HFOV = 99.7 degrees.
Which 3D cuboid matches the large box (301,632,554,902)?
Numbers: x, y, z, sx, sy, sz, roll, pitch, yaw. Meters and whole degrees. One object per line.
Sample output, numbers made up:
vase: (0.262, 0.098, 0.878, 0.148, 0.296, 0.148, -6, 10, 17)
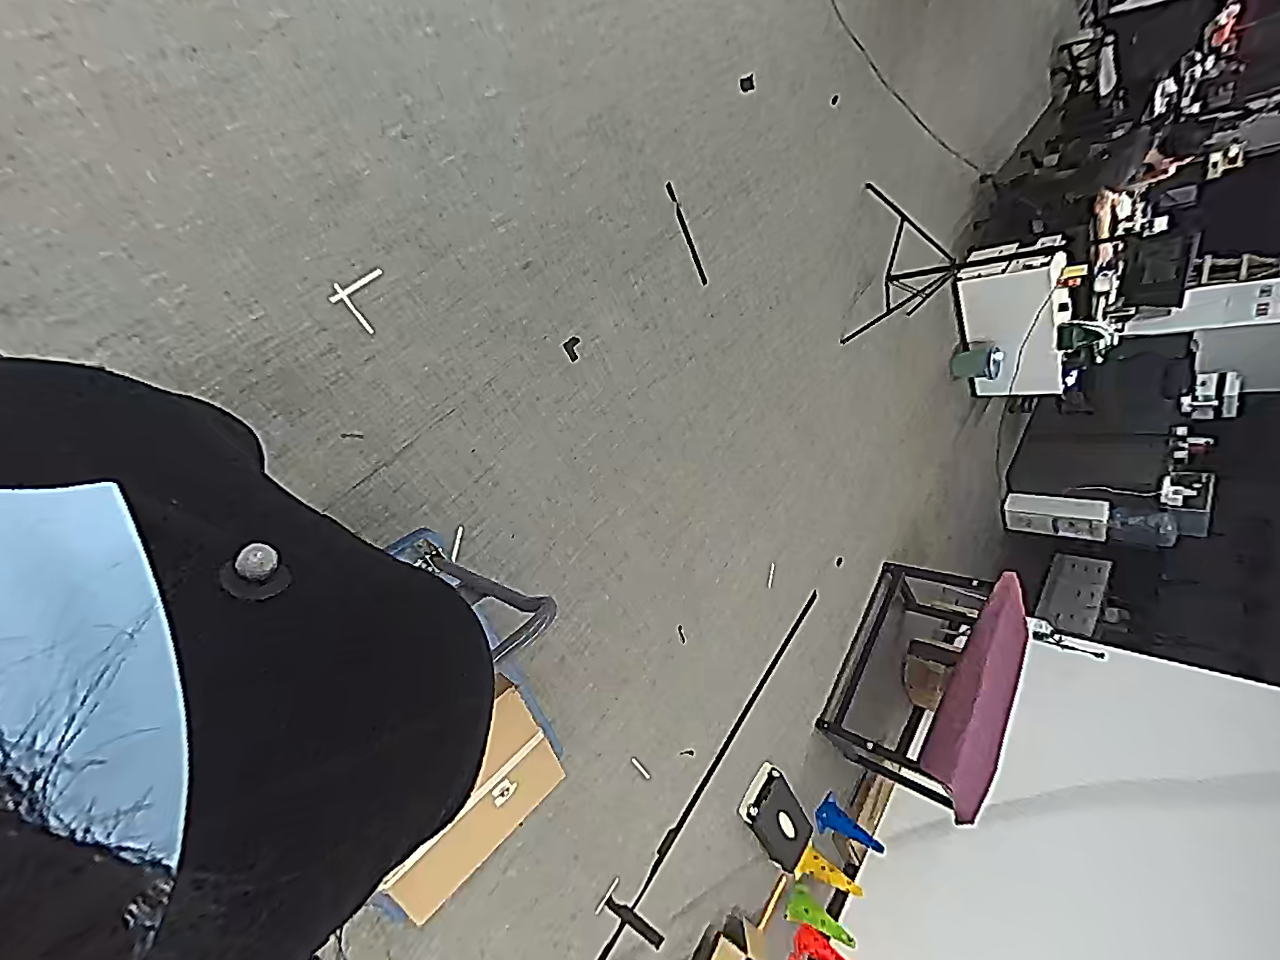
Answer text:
large box: (-0.491, 0.639, 1.279, 0.408, 0.320, 0.320, -37, 119, -34)
